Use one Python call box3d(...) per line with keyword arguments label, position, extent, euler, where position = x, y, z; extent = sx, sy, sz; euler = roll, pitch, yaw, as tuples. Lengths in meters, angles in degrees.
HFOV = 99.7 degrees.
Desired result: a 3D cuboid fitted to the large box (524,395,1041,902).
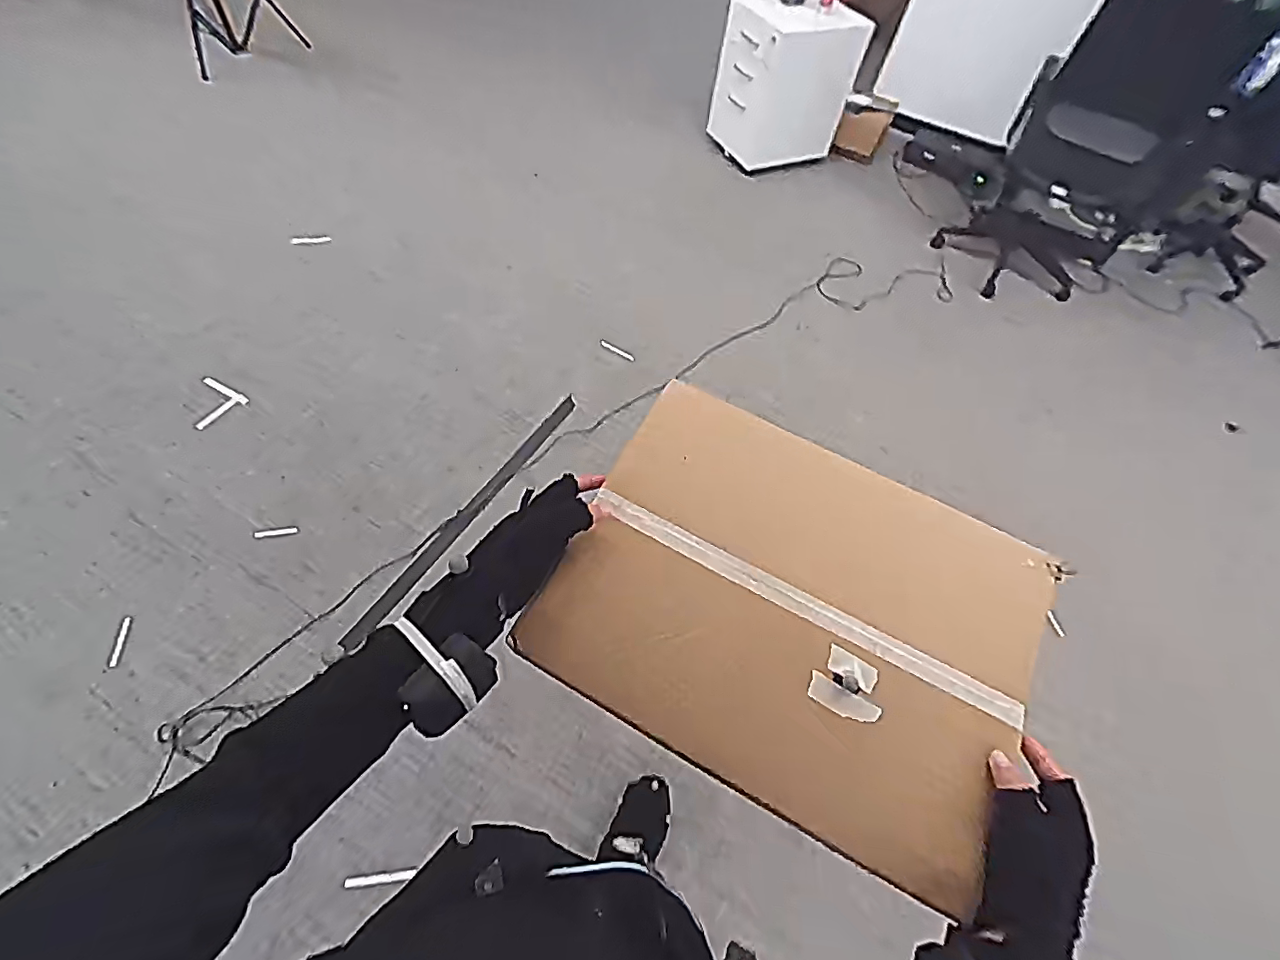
box3d(label="large box", position=(0.135, 0.173, 0.630), extent=(0.408, 0.320, 0.320), euler=(28, 69, 10))
